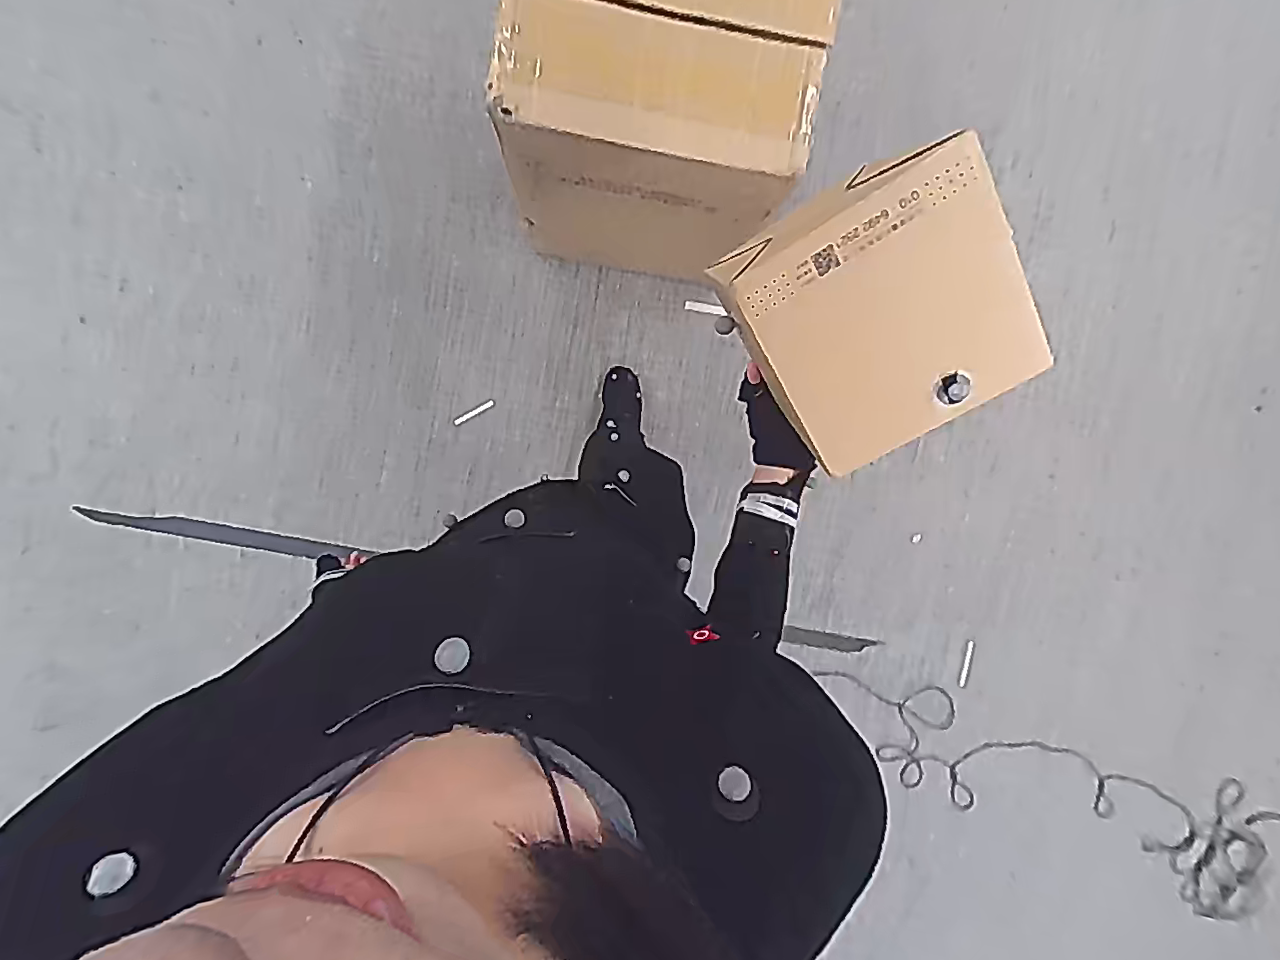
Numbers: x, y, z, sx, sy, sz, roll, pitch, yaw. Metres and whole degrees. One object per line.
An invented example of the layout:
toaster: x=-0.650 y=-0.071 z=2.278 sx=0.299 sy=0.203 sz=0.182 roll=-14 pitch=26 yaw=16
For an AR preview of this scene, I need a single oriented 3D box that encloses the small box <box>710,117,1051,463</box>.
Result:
small box: x=0.170 y=-0.149 z=0.431 sx=0.168 sy=0.179 sz=0.176 roll=-31 pitch=111 yaw=15
